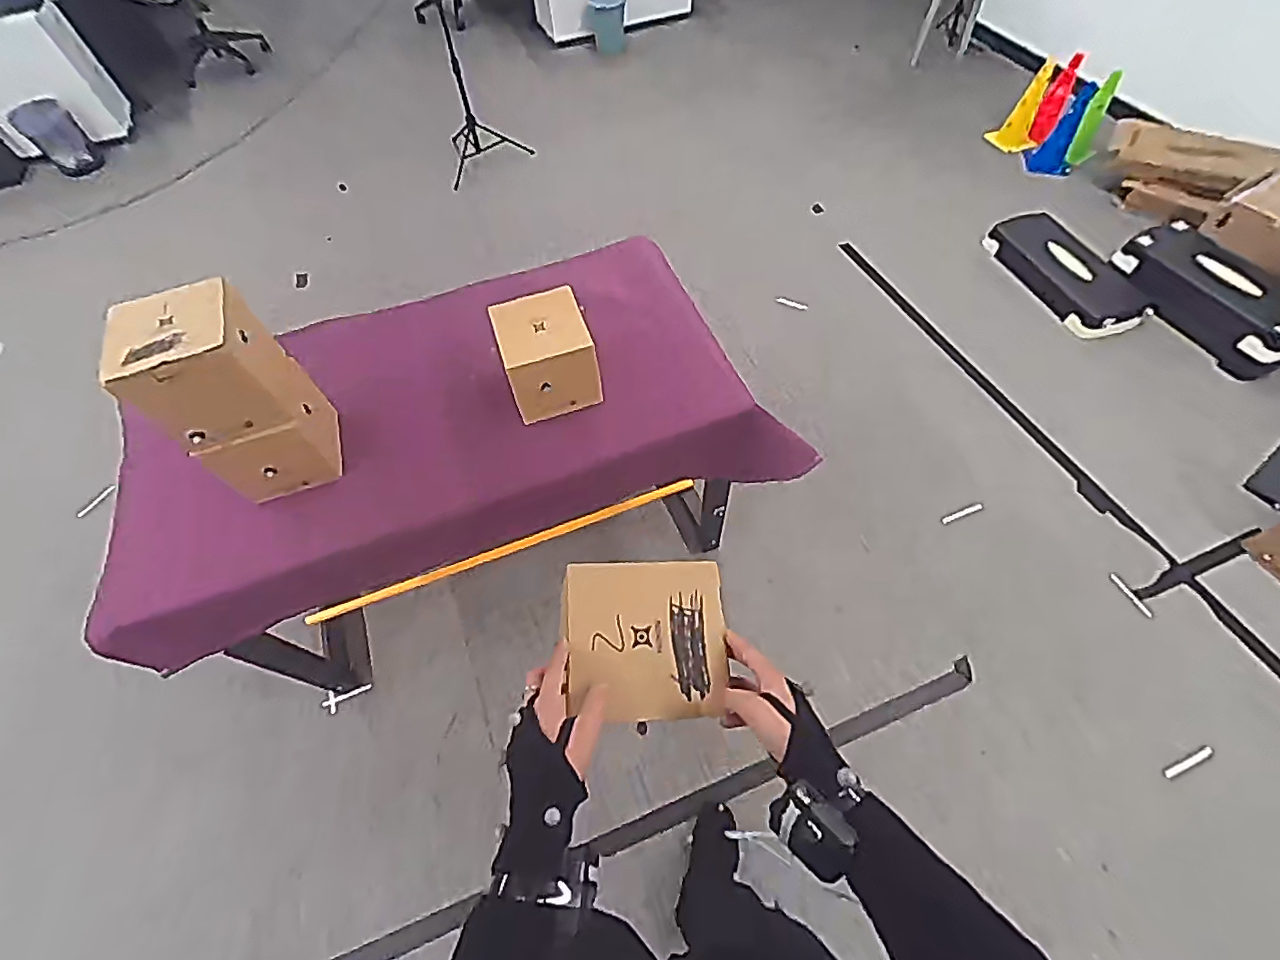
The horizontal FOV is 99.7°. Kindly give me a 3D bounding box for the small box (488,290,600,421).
[{"bbox_3d":[-0.185,-0.238,1.074,0.168,0.176,0.179,-18,59,-8],"label":"small box"}]

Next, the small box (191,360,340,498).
[{"bbox_3d":[-0.676,-0.084,0.996,0.168,0.176,0.179,-17,60,-9],"label":"small box"}]

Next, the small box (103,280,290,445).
[{"bbox_3d":[-0.690,-0.177,0.861,0.168,0.176,0.179,-21,60,-11],"label":"small box"}]
